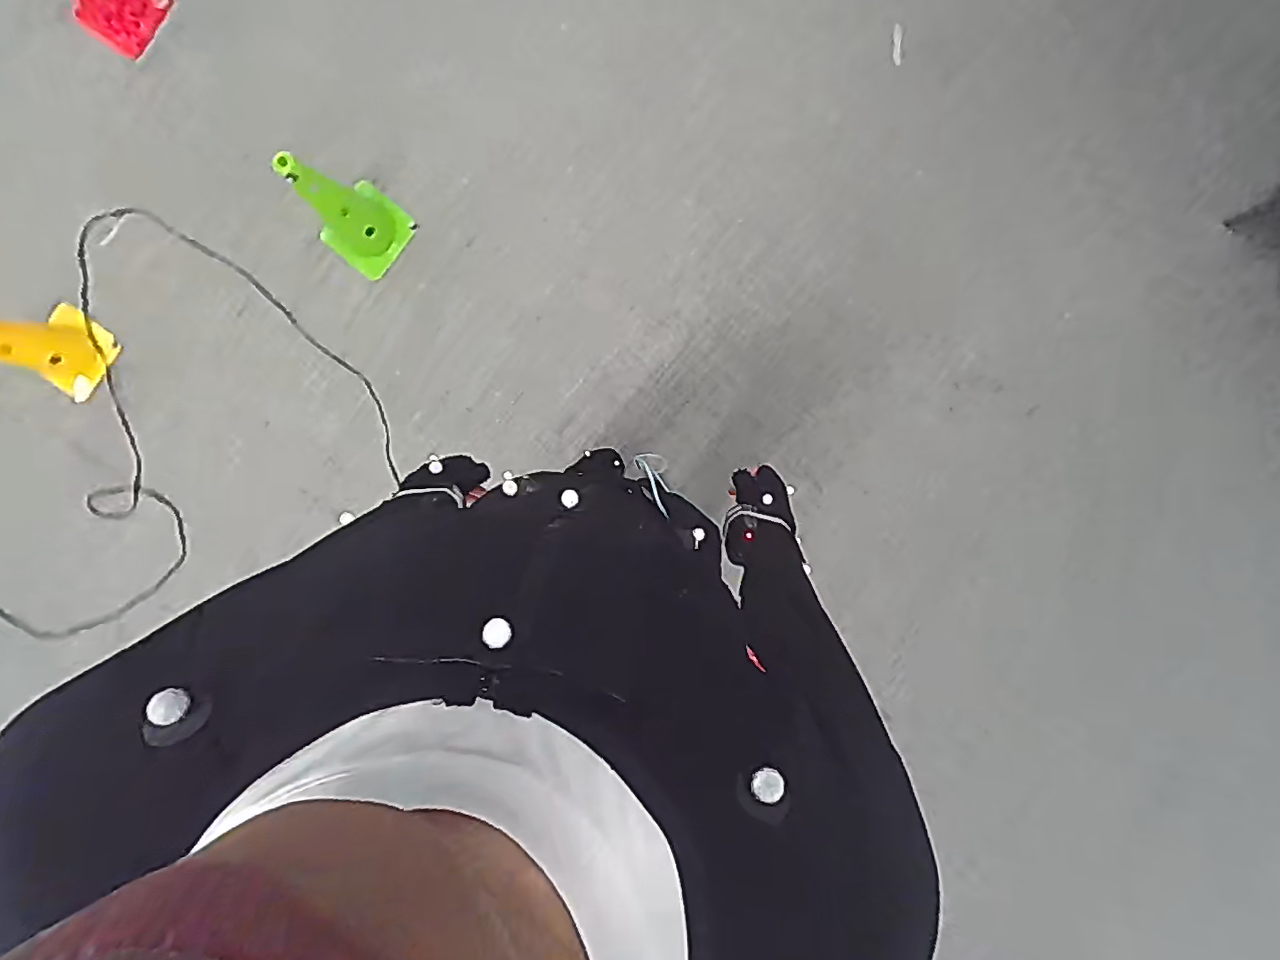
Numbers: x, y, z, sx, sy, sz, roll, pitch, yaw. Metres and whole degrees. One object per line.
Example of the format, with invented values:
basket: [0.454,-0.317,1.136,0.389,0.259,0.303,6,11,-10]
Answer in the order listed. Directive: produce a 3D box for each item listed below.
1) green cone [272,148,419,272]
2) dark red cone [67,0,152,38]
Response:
green cone: [-0.721,-0.673,1.270,0.200,0.368,0.202,39,94,-1]
dark red cone: [-1.343,-1.246,1.215,0.201,0.394,0.202,35,93,0]
